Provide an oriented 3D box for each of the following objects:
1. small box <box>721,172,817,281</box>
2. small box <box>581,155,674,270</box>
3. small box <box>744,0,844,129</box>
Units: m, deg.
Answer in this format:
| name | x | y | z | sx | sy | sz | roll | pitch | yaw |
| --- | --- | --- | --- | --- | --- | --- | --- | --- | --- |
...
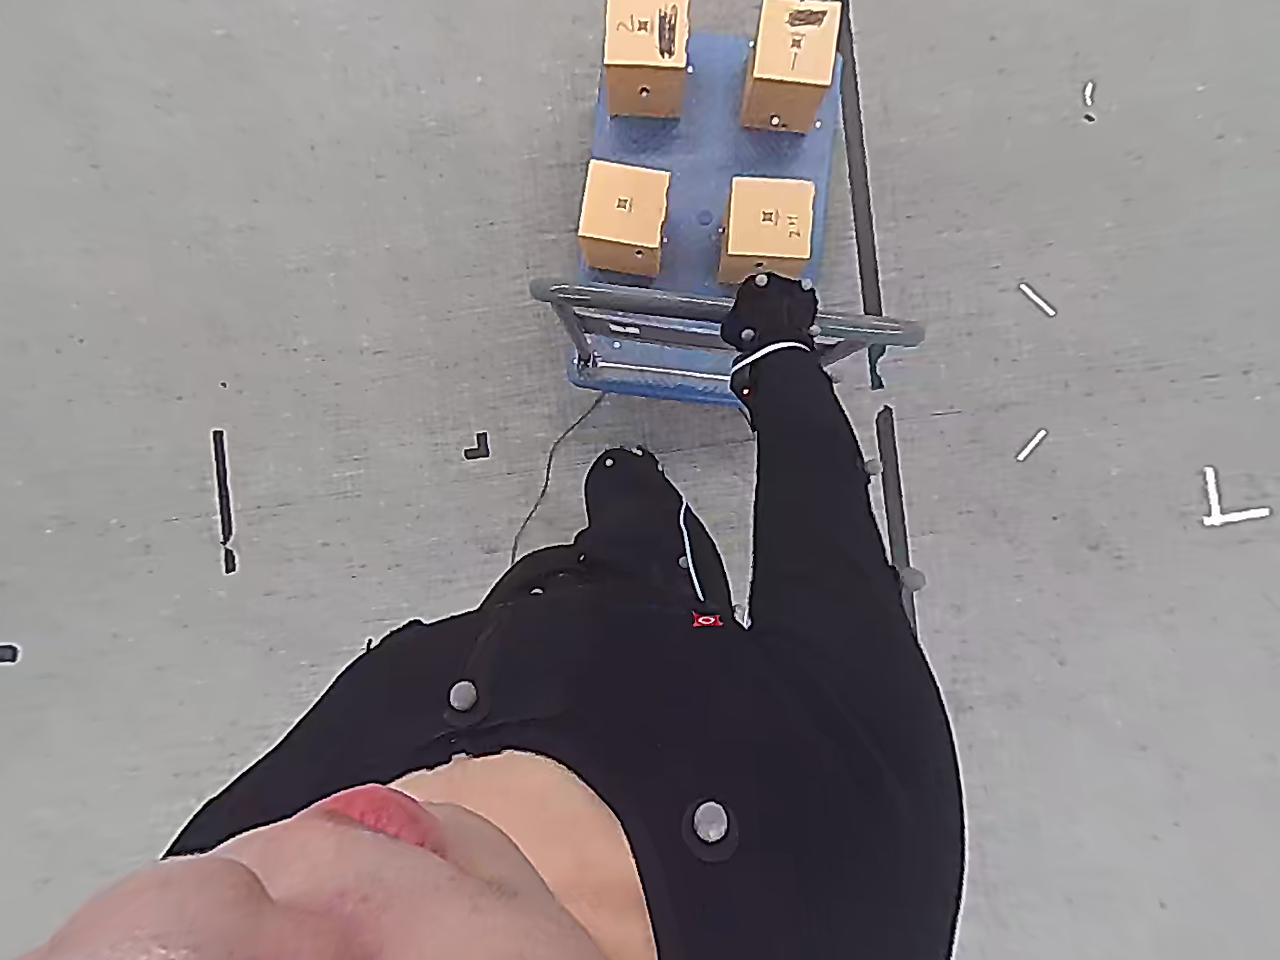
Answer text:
| name | x | y | z | sx | sy | sz | roll | pitch | yaw |
| --- | --- | --- | --- | --- | --- | --- | --- | --- | --- |
| small box | 0.280 | -0.559 | 1.212 | 0.179 | 0.176 | 0.168 | 4 | 91 | 0 |
| small box | -0.028 | -0.591 | 1.216 | 0.179 | 0.176 | 0.168 | 9 | 91 | -1 |
| small box | 0.334 | -0.930 | 1.205 | 0.168 | 0.176 | 0.179 | 7 | 92 | 1 |
